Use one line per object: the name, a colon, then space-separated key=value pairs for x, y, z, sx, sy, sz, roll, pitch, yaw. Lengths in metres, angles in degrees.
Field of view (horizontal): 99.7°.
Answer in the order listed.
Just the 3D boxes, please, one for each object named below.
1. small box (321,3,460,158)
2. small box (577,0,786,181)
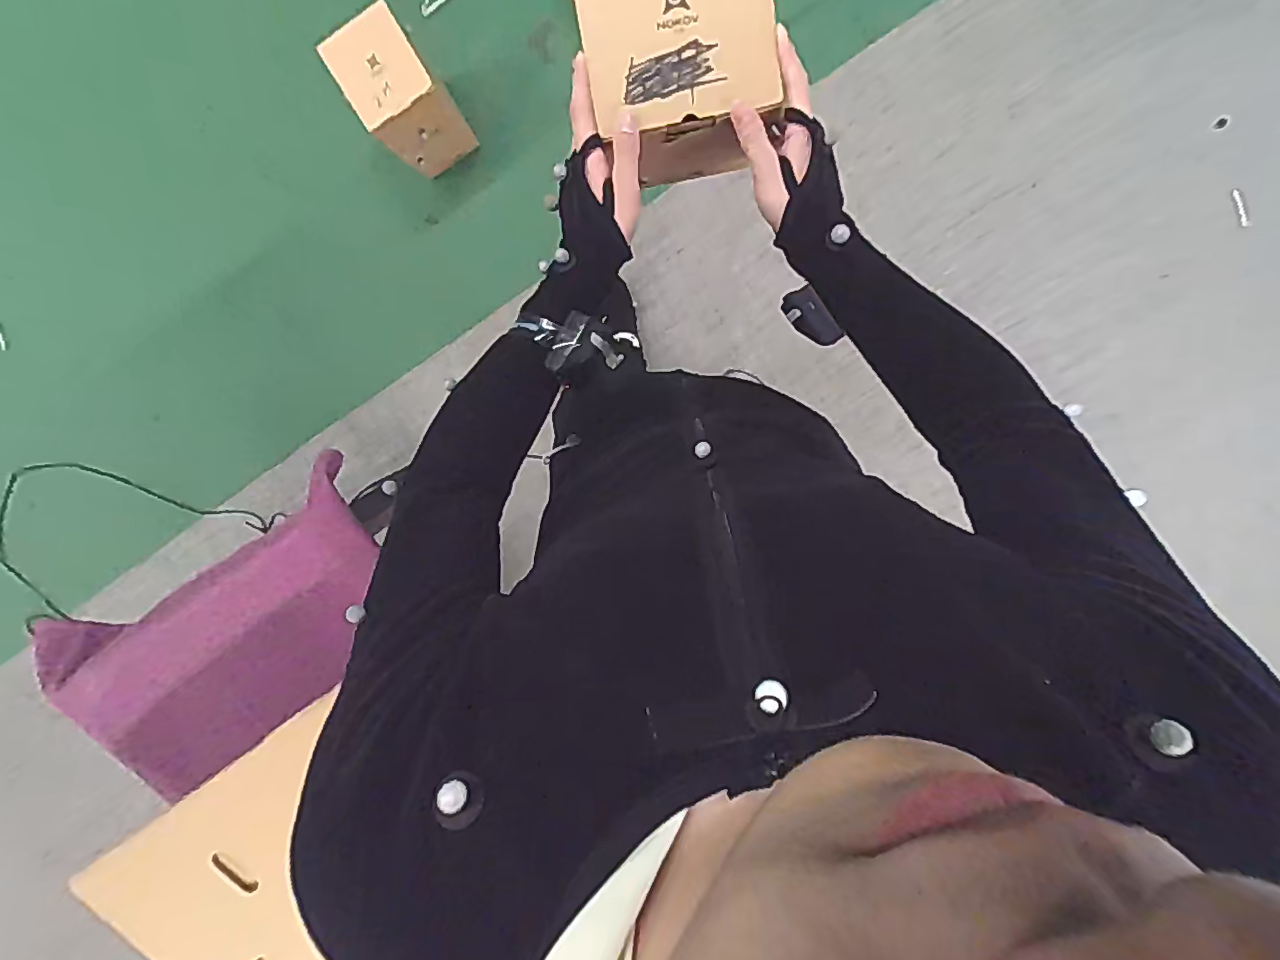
small box: x=-0.516 y=-0.830 z=1.145 sx=0.168 sy=0.176 sz=0.179 roll=-30 pitch=103 yaw=7
small box: x=0.033 y=-0.411 z=0.523 sx=0.168 sy=0.176 sz=0.179 roll=-10 pitch=102 yaw=3
